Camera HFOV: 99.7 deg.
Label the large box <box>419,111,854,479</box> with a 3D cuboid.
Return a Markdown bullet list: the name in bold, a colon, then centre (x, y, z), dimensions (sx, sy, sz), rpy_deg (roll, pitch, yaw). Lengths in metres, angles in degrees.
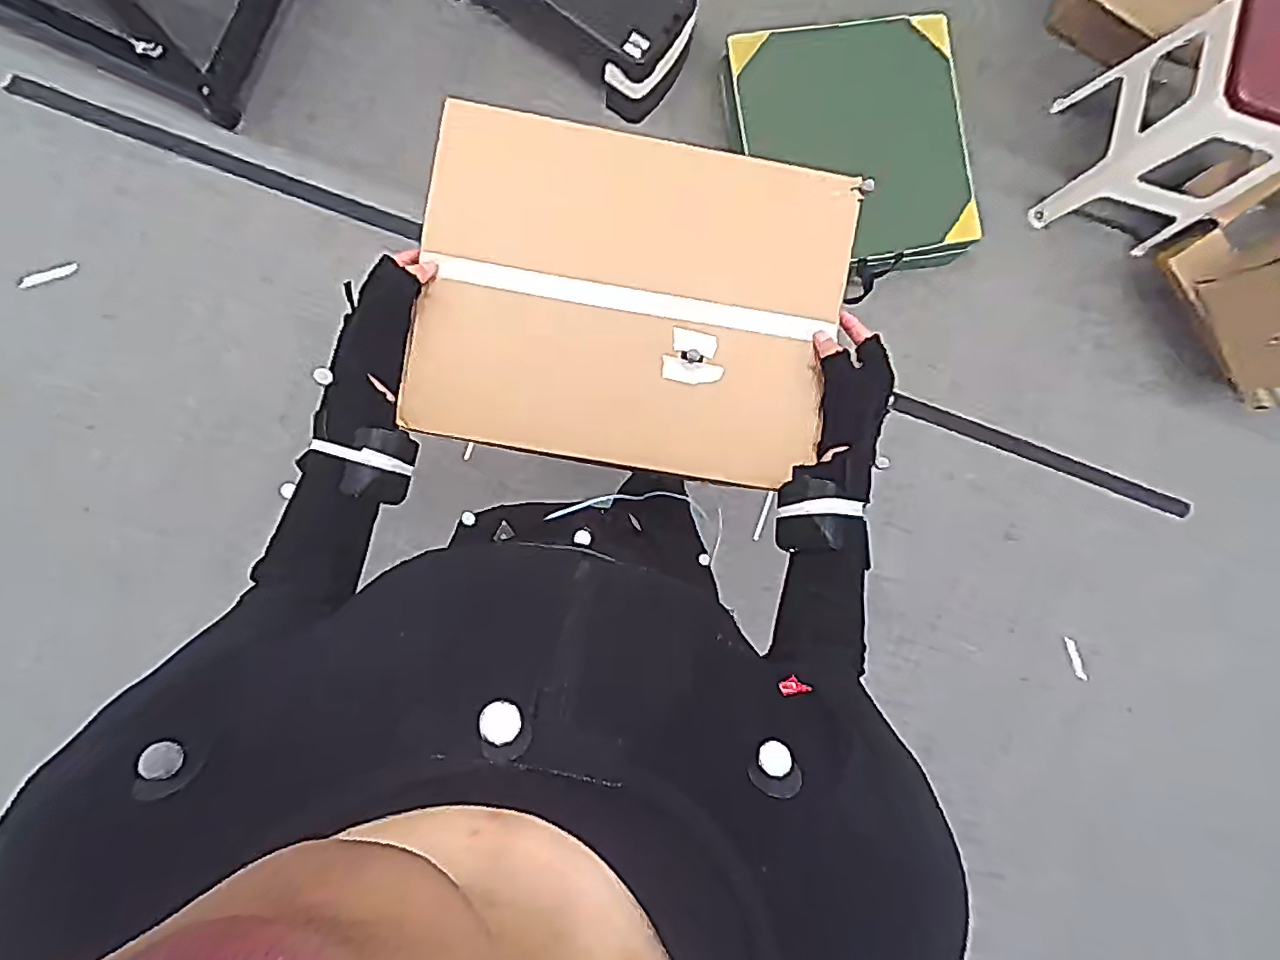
- **large box**: centre (-0.010, -0.181, 0.683), dimensions (0.408, 0.320, 0.320), rpy_deg (9, 91, -4)
